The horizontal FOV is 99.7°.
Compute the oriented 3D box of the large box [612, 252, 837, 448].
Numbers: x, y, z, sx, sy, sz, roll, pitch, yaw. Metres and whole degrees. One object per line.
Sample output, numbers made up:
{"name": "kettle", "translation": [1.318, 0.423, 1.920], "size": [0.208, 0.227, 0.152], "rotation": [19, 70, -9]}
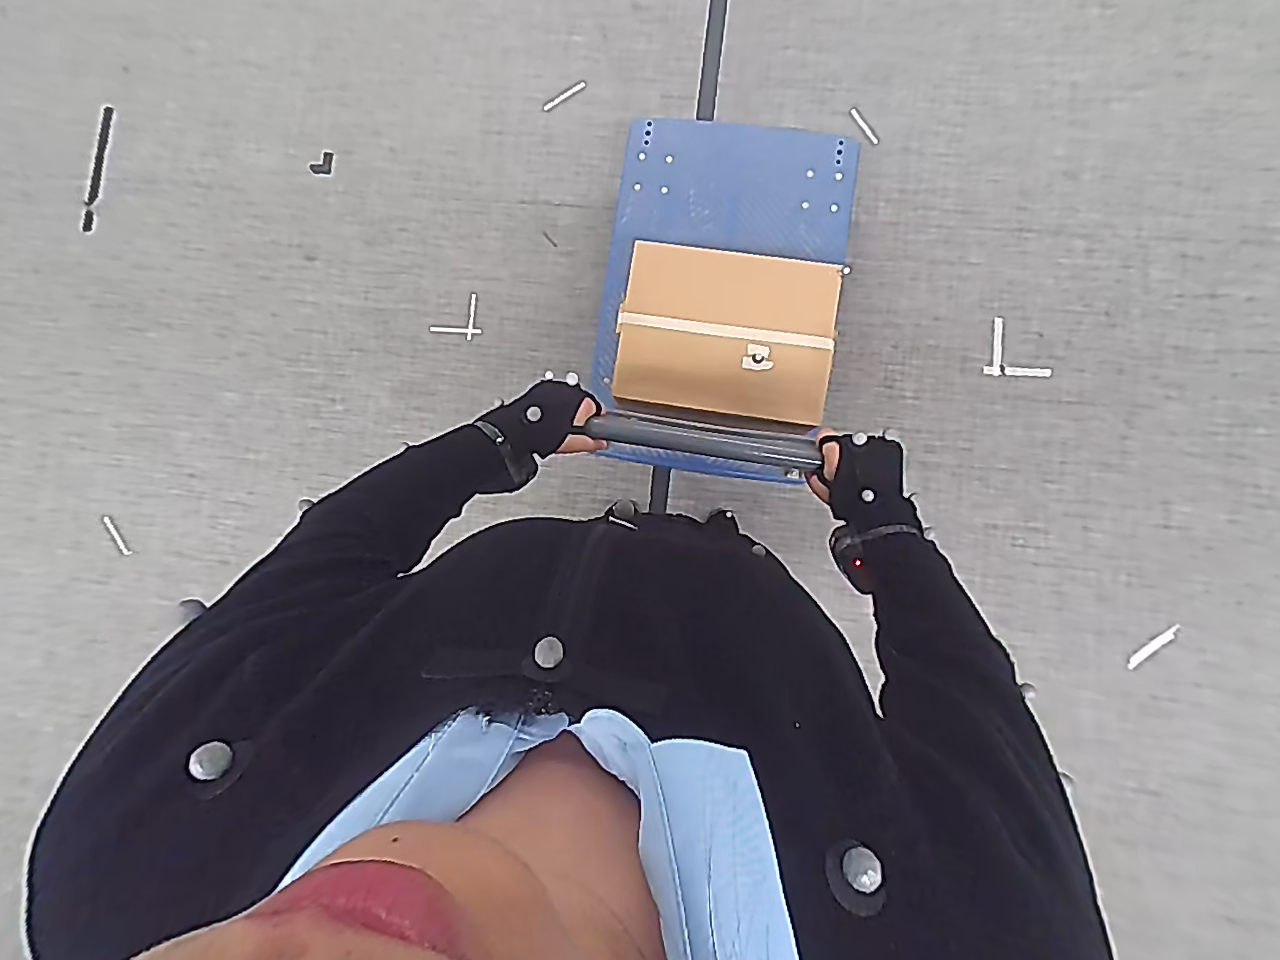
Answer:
{"name": "large box", "translation": [0.167, -0.262, 1.186], "size": [0.408, 0.320, 0.320], "rotation": [9, 89, 3]}
